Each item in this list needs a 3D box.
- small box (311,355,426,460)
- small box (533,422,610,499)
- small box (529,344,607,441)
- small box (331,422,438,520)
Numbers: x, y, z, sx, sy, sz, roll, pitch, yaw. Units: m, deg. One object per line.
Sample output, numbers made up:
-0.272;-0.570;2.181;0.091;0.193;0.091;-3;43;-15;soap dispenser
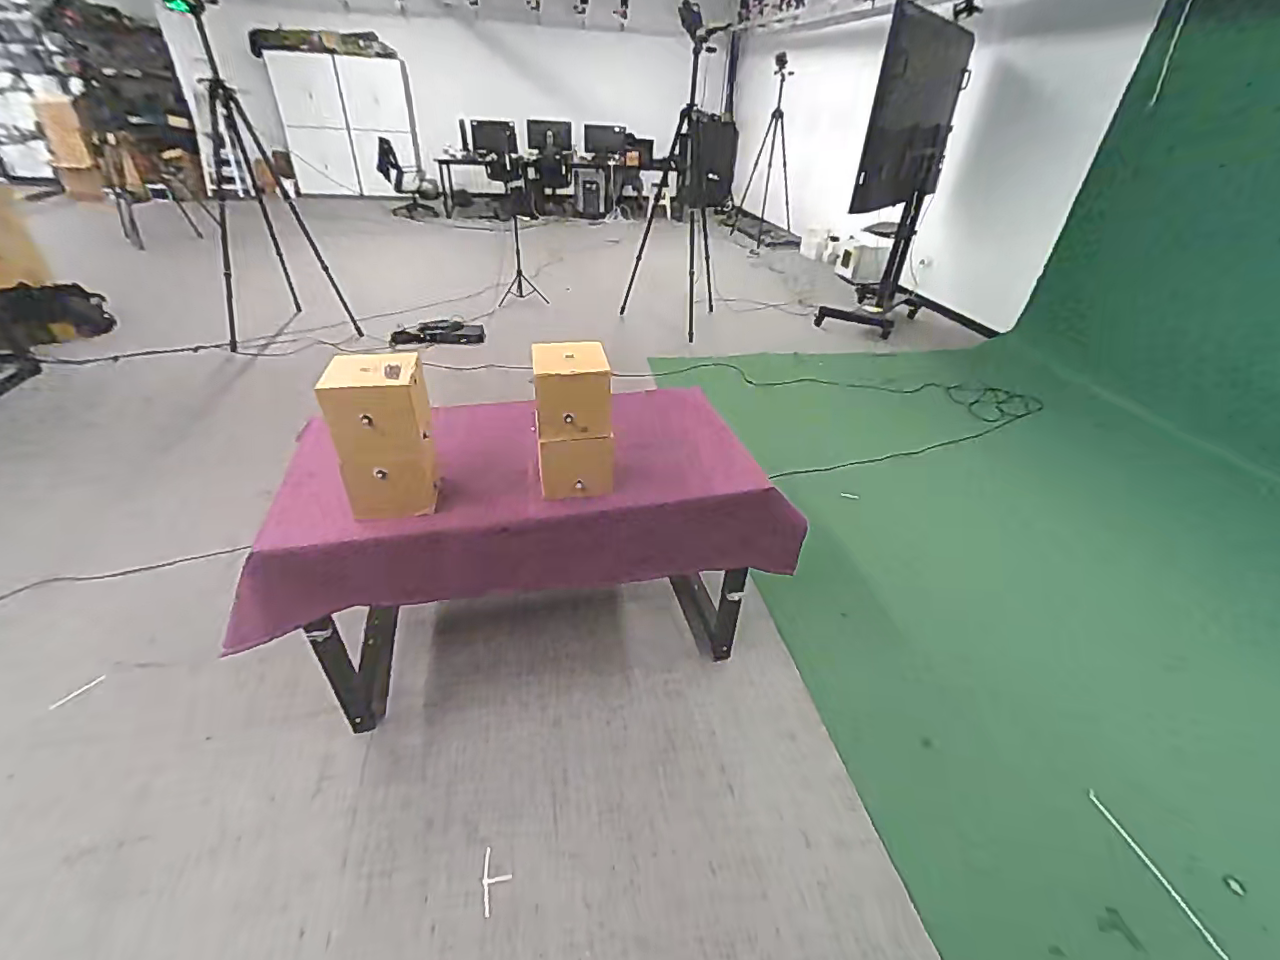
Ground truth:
-0.570;-0.157;1.166;0.179;0.176;0.168;-5;36;-11;small box
-0.175;-0.067;1.355;0.179;0.176;0.168;-5;35;-12;small box
-0.172;-0.207;1.270;0.168;0.176;0.179;-5;37;-11;small box
-0.582;-0.021;1.257;0.179;0.176;0.168;-4;36;-11;small box
